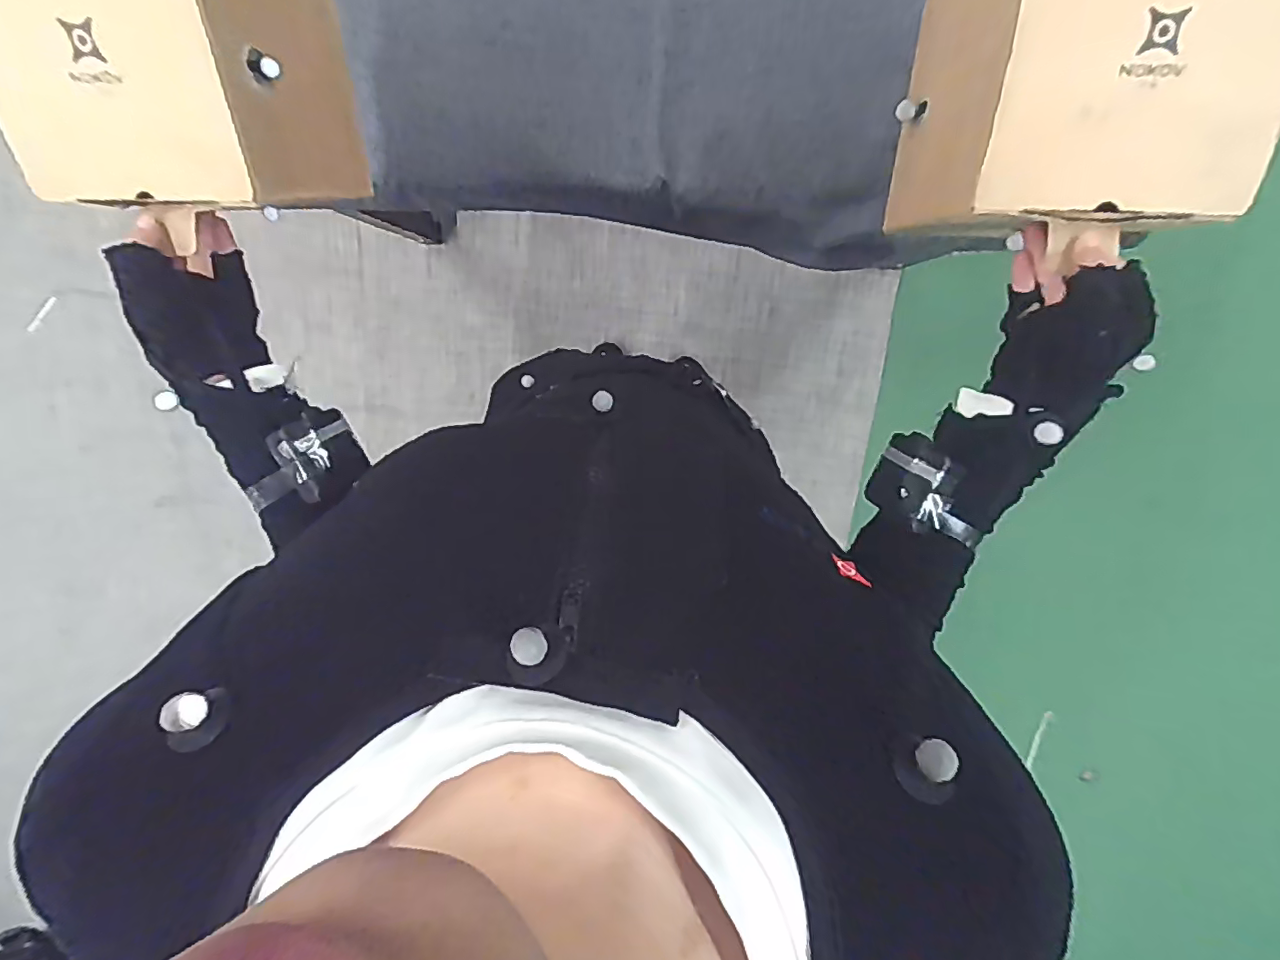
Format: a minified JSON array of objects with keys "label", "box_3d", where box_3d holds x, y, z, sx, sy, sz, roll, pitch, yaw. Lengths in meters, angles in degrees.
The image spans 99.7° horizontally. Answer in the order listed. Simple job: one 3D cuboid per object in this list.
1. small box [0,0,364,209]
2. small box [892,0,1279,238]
[{"label":"small box","box_3d":[-0.337,-0.304,0.401,0.168,0.176,0.179,1,119,3]},{"label":"small box","box_3d":[0.301,-0.273,0.387,0.168,0.176,0.179,3,112,3]}]
